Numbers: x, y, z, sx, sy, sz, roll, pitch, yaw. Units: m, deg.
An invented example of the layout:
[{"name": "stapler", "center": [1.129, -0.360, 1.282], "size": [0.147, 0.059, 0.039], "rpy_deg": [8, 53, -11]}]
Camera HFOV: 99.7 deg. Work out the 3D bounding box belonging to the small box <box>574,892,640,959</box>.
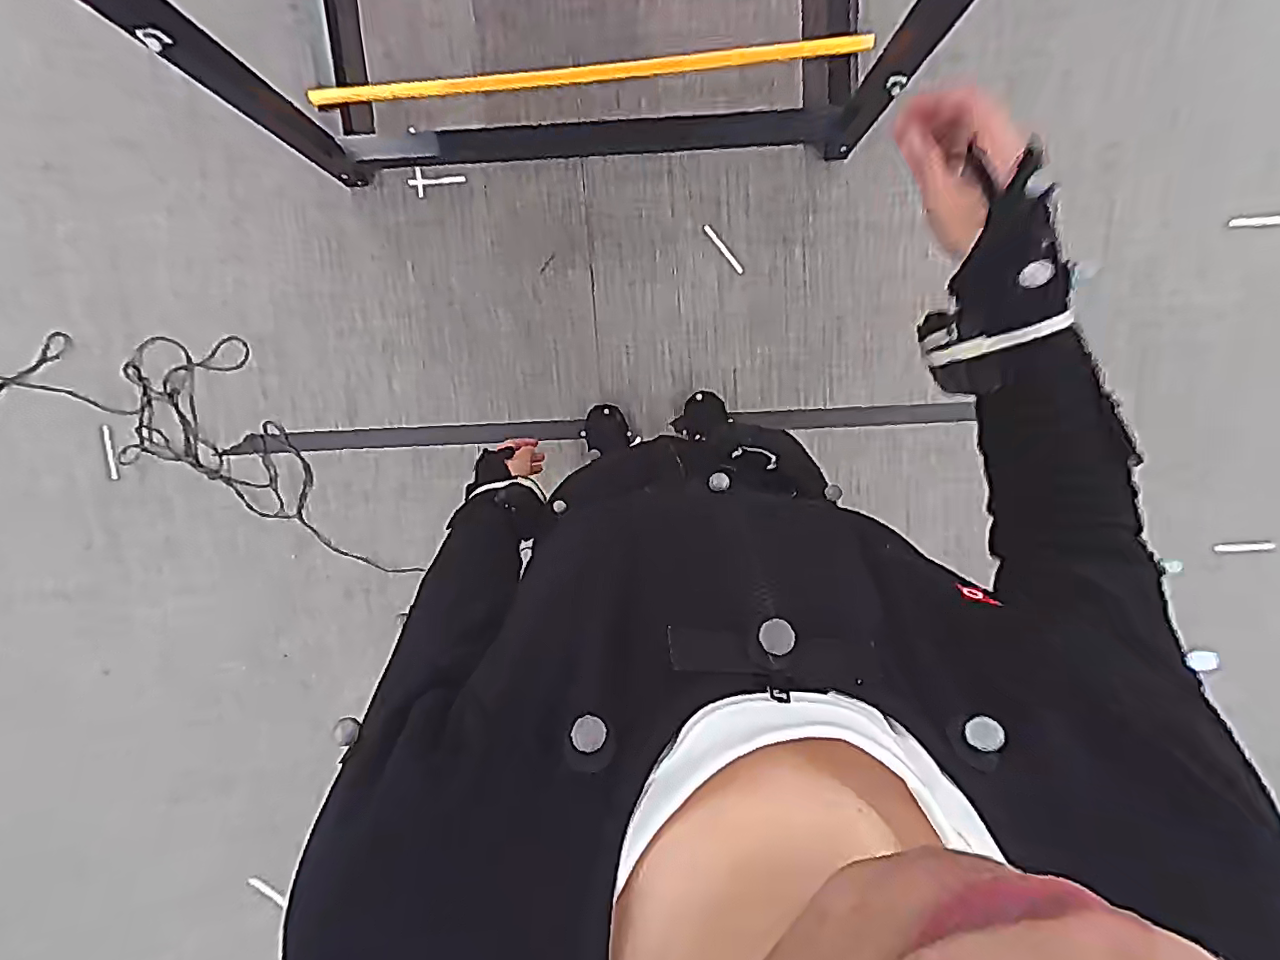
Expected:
[{"name": "small box", "center": [-0.086, 1.304, 1.516], "size": [0.168, 0.176, 0.179], "rpy_deg": [-4, 98, 1]}]
